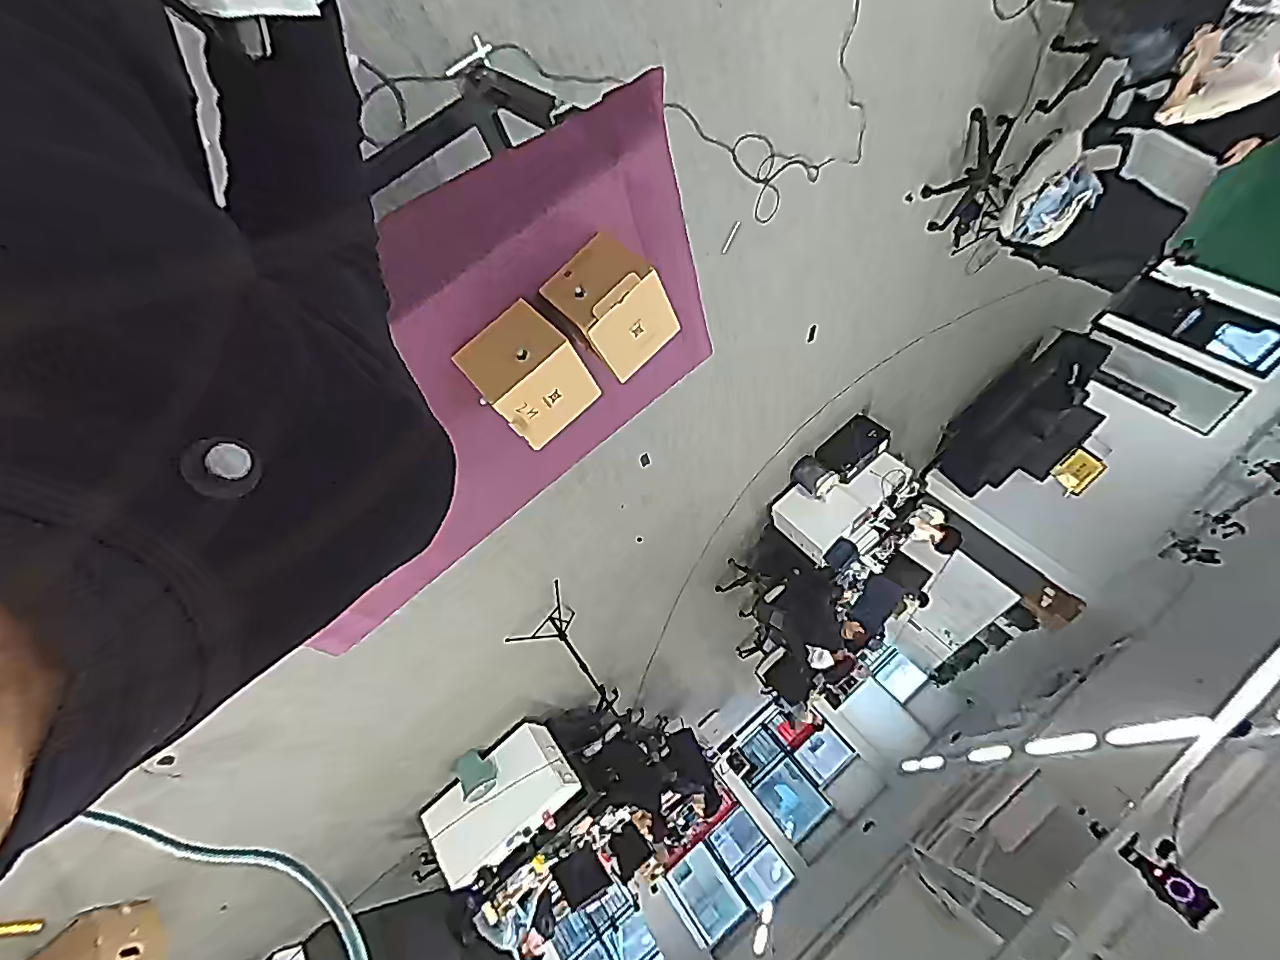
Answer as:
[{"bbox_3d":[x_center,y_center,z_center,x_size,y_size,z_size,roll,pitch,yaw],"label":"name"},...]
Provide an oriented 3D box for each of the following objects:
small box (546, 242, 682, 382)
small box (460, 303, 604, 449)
[{"bbox_3d":[-0.051,-0.332,1.050,0.168,0.176,0.179,-43,149,-1],"label":"small box"},{"bbox_3d":[-0.205,-0.199,1.025,0.179,0.176,0.168,-42,148,-4],"label":"small box"}]
